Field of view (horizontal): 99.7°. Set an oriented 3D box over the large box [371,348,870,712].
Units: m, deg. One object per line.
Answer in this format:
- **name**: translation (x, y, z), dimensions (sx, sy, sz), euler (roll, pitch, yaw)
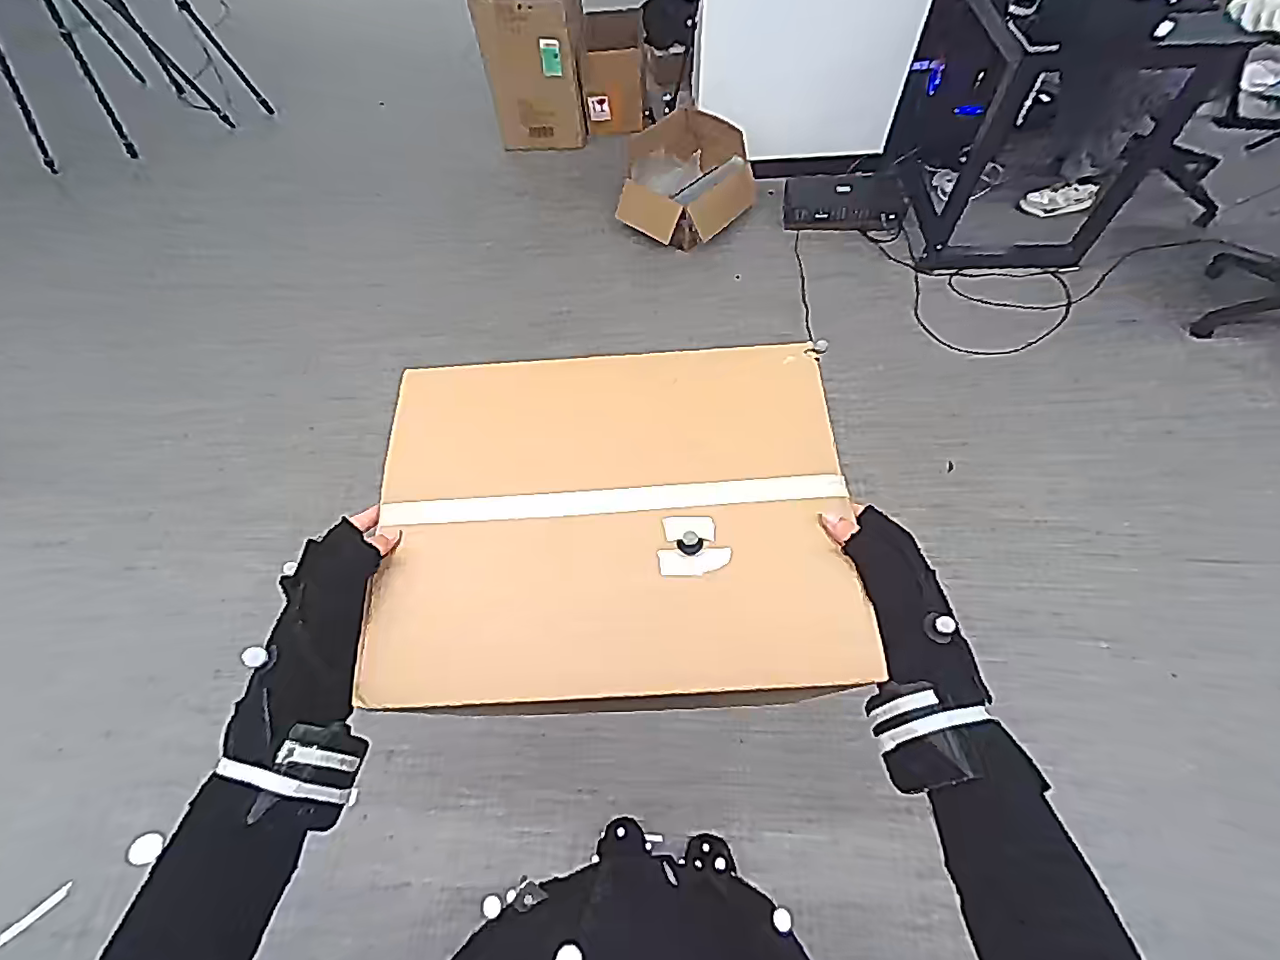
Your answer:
- **large box**: translation (-0.019, 0.082, 0.619), dimensions (0.408, 0.320, 0.320), euler (-3, 66, 1)
